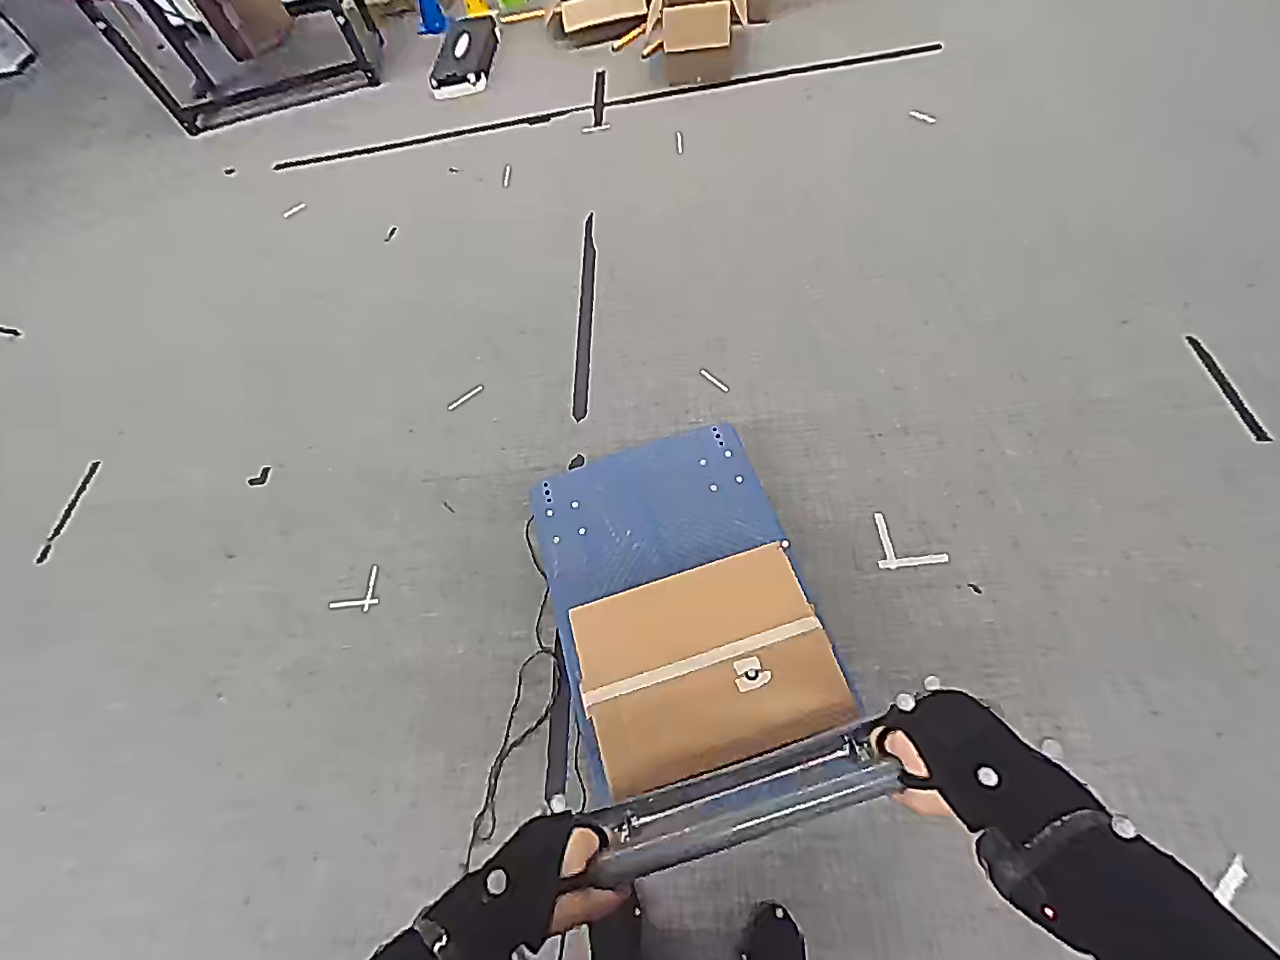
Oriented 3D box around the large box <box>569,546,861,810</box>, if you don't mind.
[{"bbox_3d":[0.123,0.377,1.007,0.408,0.320,0.320,-18,60,-2],"label":"large box"}]
